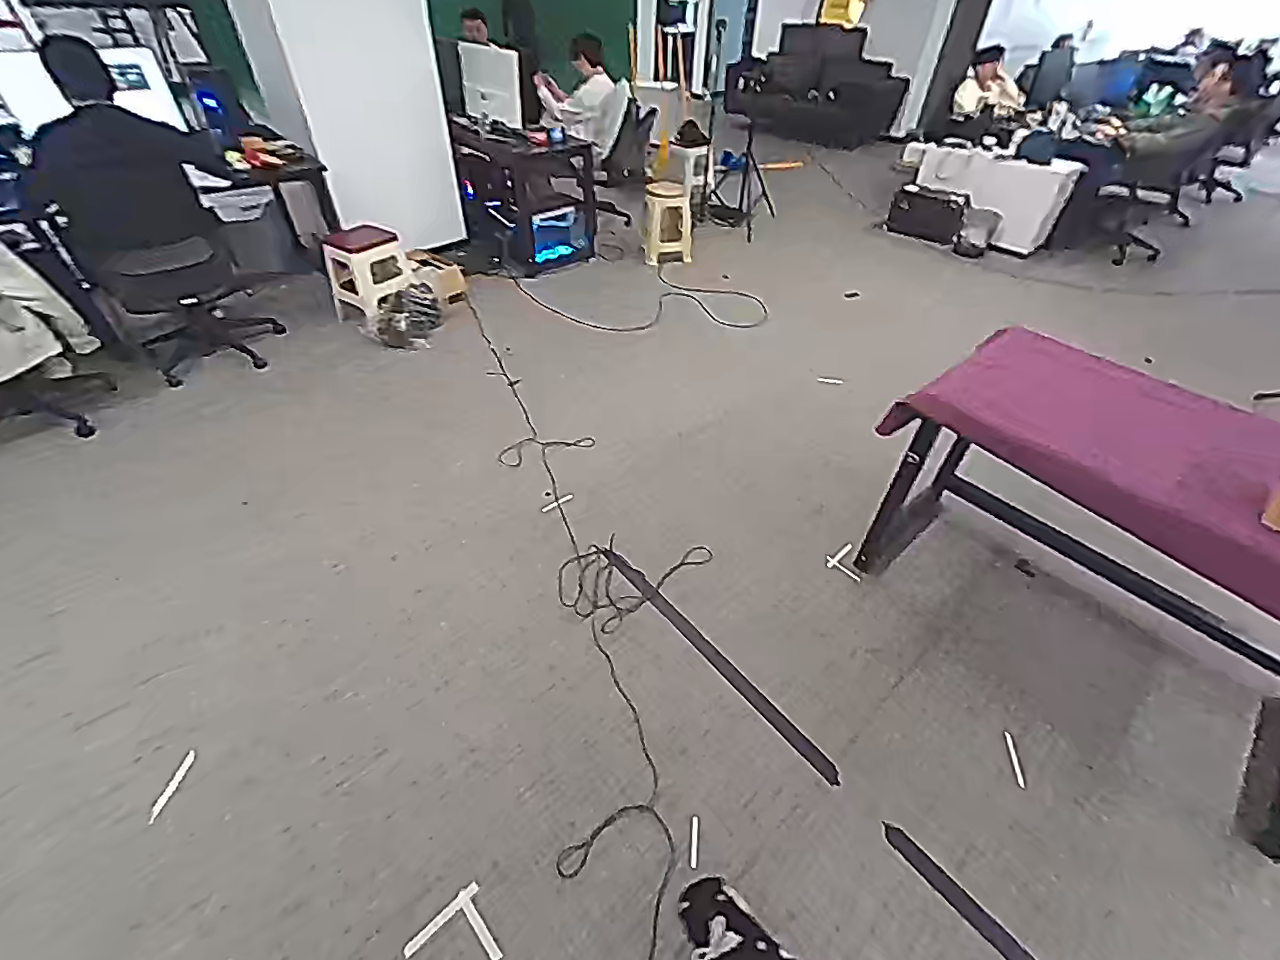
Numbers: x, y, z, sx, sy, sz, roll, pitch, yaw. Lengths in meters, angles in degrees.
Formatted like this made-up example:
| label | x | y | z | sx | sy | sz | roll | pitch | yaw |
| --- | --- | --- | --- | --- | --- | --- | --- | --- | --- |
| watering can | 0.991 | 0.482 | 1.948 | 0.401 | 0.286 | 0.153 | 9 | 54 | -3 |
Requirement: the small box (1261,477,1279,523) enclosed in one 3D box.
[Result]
| label | x | y | z | sx | sy | sz | roll | pitch | yaw |
| --- | --- | --- | --- | --- | --- | --- | --- | --- | --- |
| small box | 1.398 | 0.026 | 1.063 | 0.179 | 0.176 | 0.168 | -30 | 51 | -30 |
